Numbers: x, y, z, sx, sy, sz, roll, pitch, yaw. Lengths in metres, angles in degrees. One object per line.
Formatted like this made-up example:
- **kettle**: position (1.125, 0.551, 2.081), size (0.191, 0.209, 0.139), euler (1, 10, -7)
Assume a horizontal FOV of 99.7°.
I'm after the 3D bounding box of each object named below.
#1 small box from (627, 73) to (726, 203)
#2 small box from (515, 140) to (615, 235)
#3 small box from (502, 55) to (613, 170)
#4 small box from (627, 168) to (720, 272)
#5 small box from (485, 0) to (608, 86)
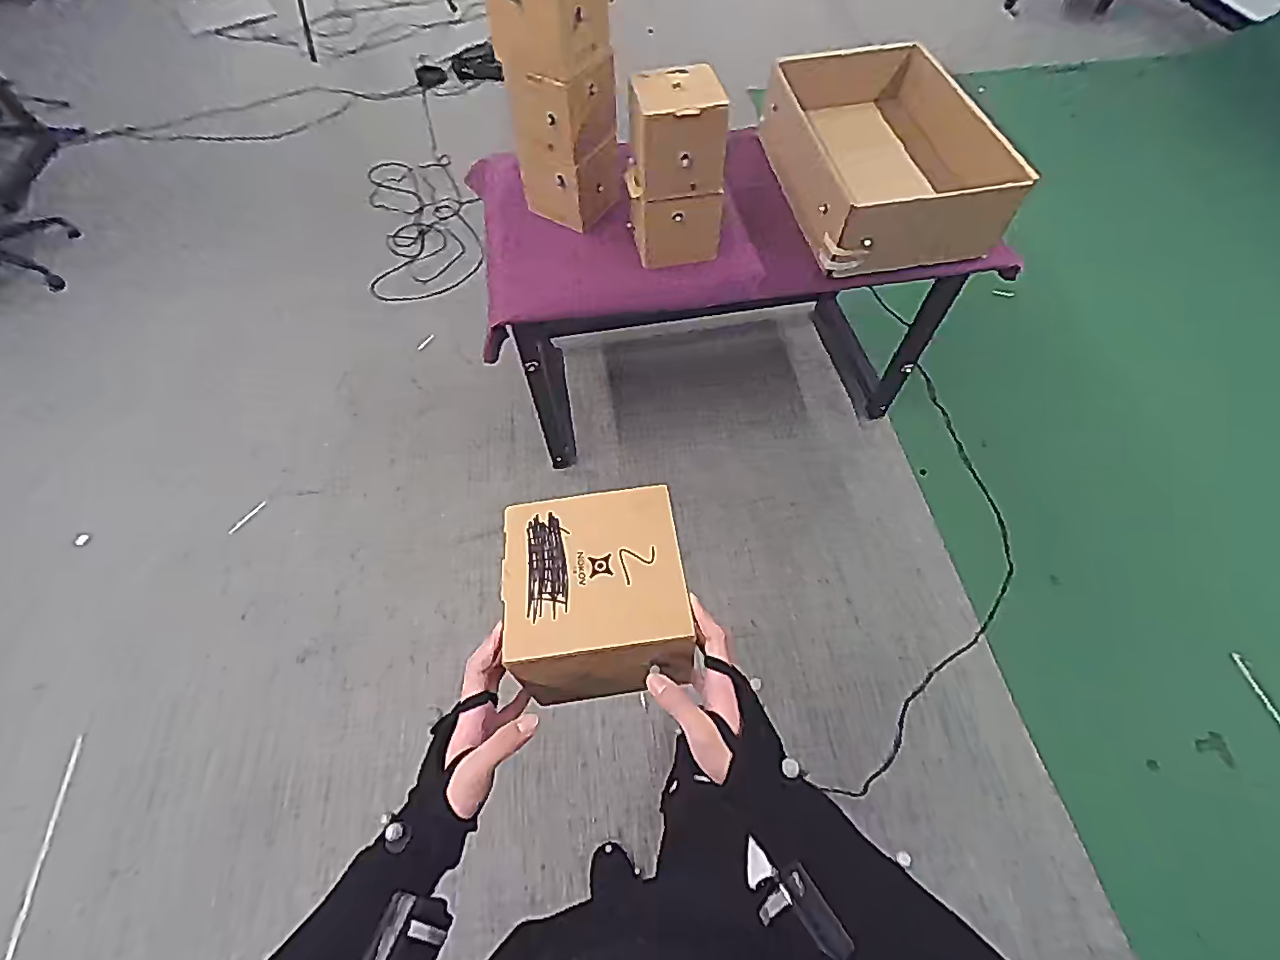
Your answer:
- **small box**: position (0.069, -0.690, 1.106), size (0.168, 0.176, 0.179), euler (-9, 60, -5)
- **small box**: position (-0.173, -0.733, 1.323), size (0.179, 0.176, 0.168), euler (29, 64, 16)
- **small box**: position (-0.169, -0.819, 1.185), size (0.168, 0.176, 0.179), euler (30, 64, 15)
- **small box**: position (0.073, -0.602, 1.244), size (0.179, 0.176, 0.168), euler (-10, 59, -6)
- **small box**: position (-0.175, -0.900, 1.045), size (0.179, 0.176, 0.168), euler (28, 65, 15)
